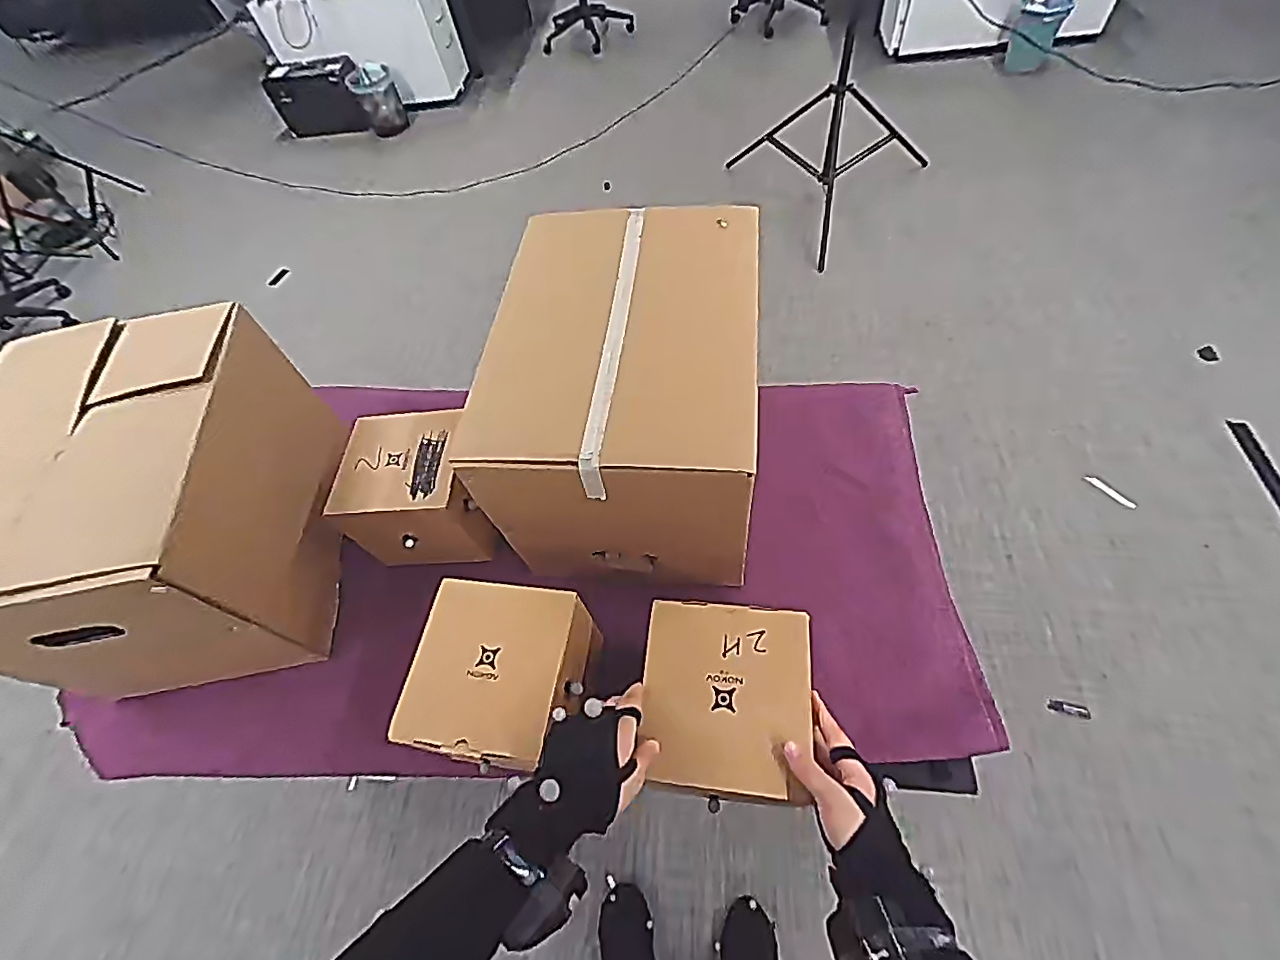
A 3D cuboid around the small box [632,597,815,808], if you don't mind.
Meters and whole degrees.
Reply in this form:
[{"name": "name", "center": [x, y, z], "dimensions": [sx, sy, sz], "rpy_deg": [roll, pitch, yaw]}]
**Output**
[{"name": "small box", "center": [0.094, 0.246, 0.589], "dimensions": [0.168, 0.176, 0.179], "rpy_deg": [3, 57, 9]}]
